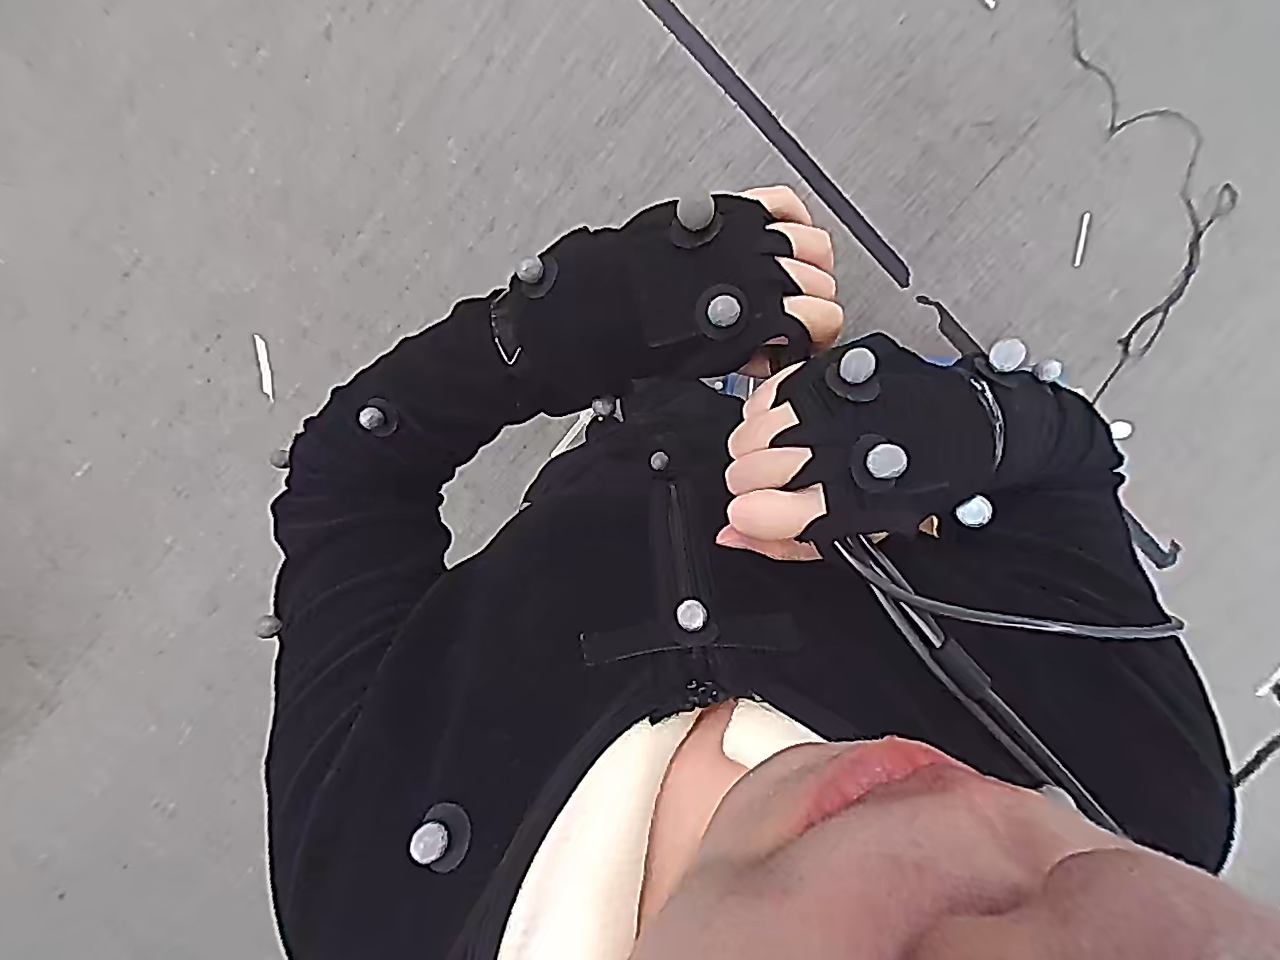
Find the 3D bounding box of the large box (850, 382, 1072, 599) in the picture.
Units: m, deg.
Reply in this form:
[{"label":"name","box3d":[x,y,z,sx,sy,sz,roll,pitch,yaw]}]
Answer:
[{"label":"large box","box3d":[0.700,0.002,1.221,0.320,0.320,0.408,-8,101,-3]}]
